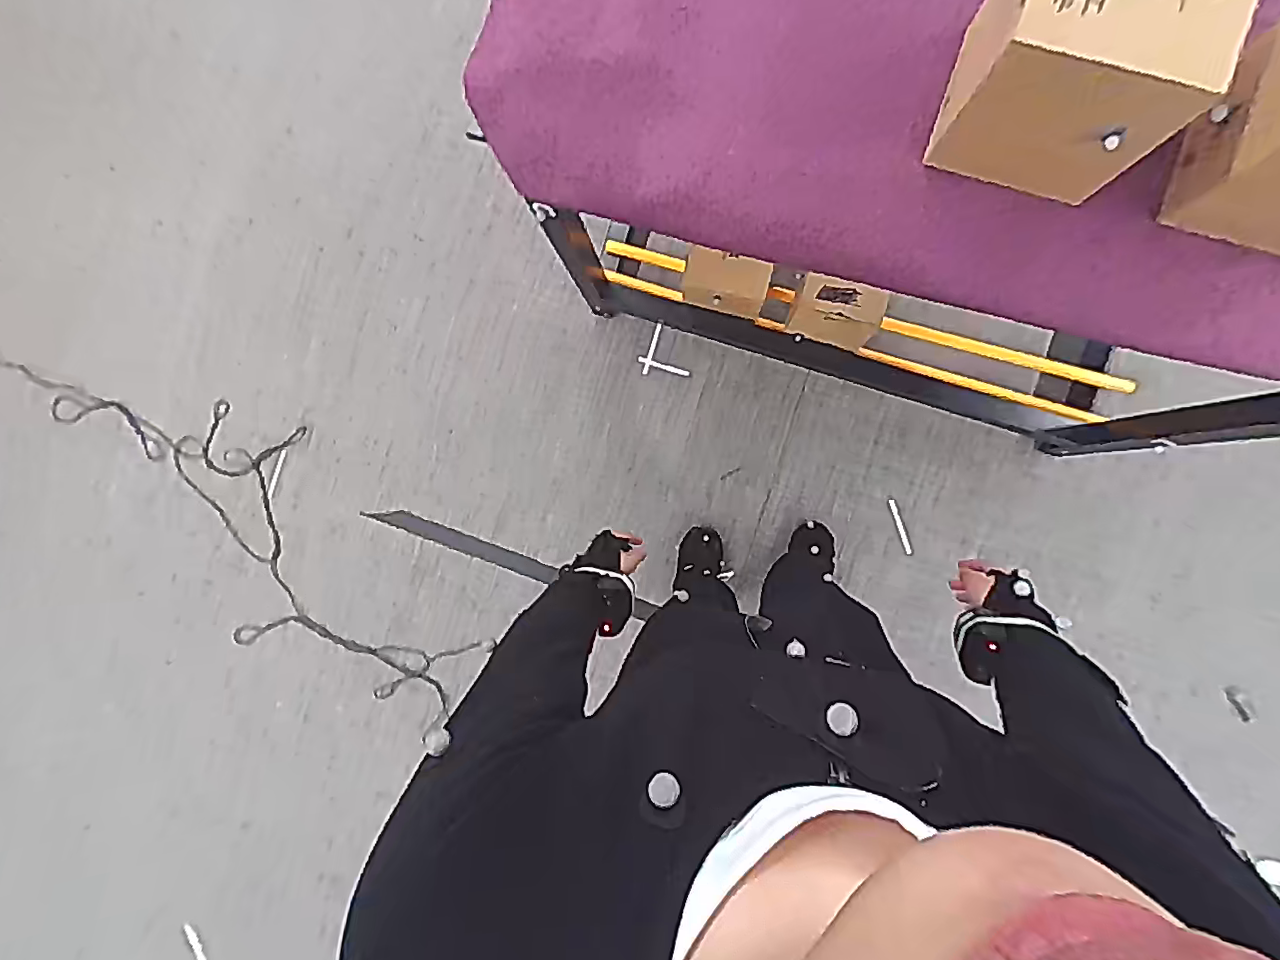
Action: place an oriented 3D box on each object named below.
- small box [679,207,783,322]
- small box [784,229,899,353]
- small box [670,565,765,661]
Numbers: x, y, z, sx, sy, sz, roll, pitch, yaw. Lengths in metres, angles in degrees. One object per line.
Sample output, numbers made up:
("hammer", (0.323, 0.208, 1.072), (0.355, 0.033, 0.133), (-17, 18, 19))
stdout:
("small box", (0.190, -0.454, 1.168), (0.179, 0.176, 0.168), (14, 92, 5))
("small box", (0.415, -0.389, 1.143), (0.168, 0.176, 0.179), (17, 84, 5))
("small box", (0.174, 0.302, 1.253), (0.179, 0.176, 0.168), (14, 88, 2))
